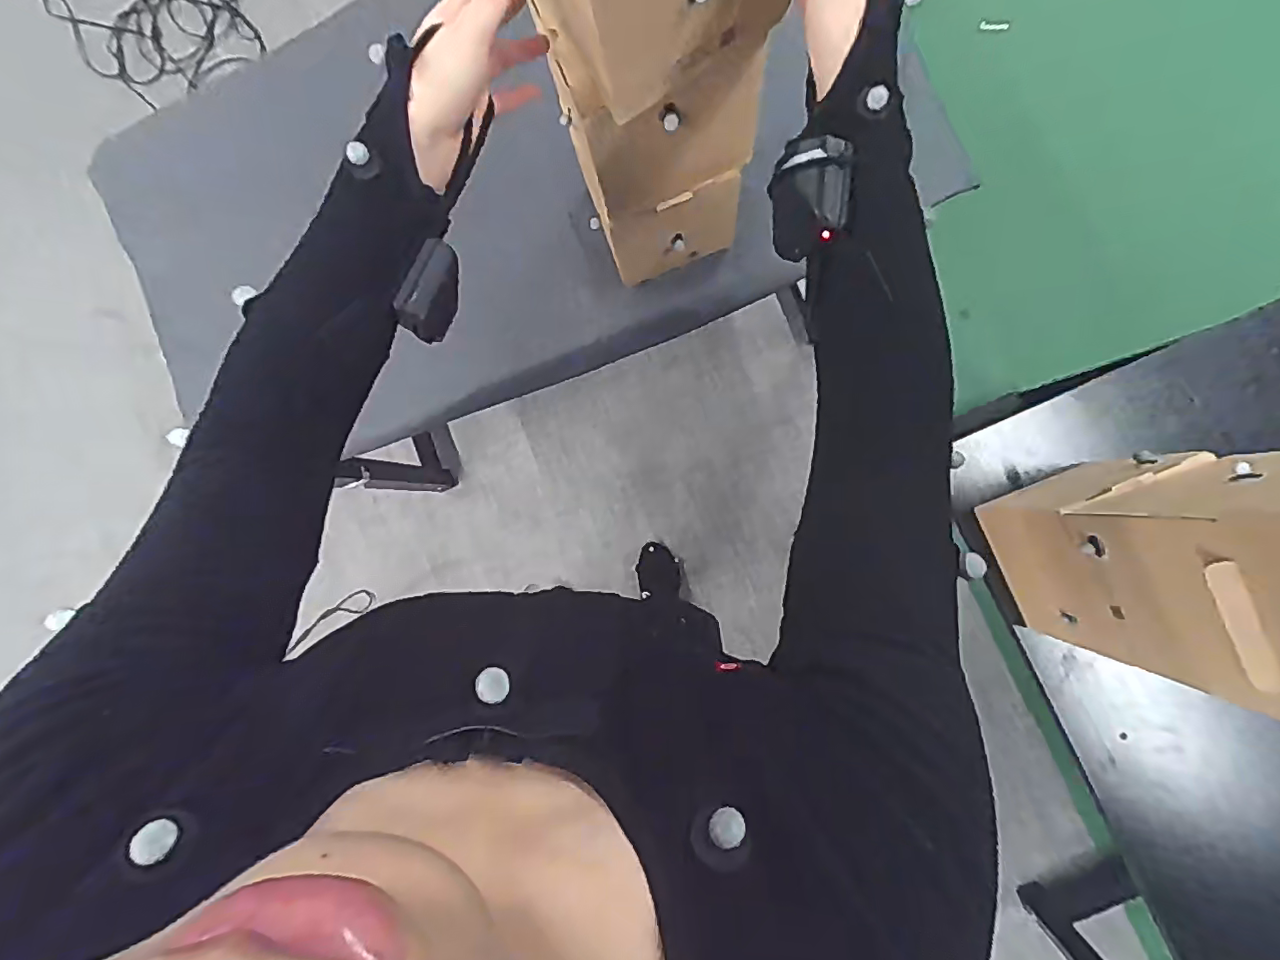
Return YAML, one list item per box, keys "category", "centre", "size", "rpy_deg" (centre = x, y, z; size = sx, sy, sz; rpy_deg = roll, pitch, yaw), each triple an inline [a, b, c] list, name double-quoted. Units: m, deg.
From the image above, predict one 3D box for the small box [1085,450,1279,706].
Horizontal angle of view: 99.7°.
- category: "small box"
  centre: [0.537, 0.075, 0.463]
  size: [0.179, 0.176, 0.168]
  rpy_deg: [-21, 87, 4]

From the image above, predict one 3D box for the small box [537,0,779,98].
- category: "small box"
  centre: [-0.005, -0.413, 0.371]
  size: [0.168, 0.176, 0.179]
  rpy_deg: [-31, 83, 4]

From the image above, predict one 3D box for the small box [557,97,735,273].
- category: "small box"
  centre: [0.016, -0.394, 0.699]
  size: [0.168, 0.176, 0.179]
  rpy_deg: [-21, 85, 6]

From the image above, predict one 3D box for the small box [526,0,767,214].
- category: "small box"
  centre: [0.006, -0.407, 0.536]
  size: [0.179, 0.176, 0.168]
  rpy_deg: [-23, 84, 6]

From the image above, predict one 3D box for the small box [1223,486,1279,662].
- category: "small box"
  centre: [0.513, 0.073, 0.302]
  size: [0.168, 0.176, 0.179]
  rpy_deg: [-20, 86, 3]
